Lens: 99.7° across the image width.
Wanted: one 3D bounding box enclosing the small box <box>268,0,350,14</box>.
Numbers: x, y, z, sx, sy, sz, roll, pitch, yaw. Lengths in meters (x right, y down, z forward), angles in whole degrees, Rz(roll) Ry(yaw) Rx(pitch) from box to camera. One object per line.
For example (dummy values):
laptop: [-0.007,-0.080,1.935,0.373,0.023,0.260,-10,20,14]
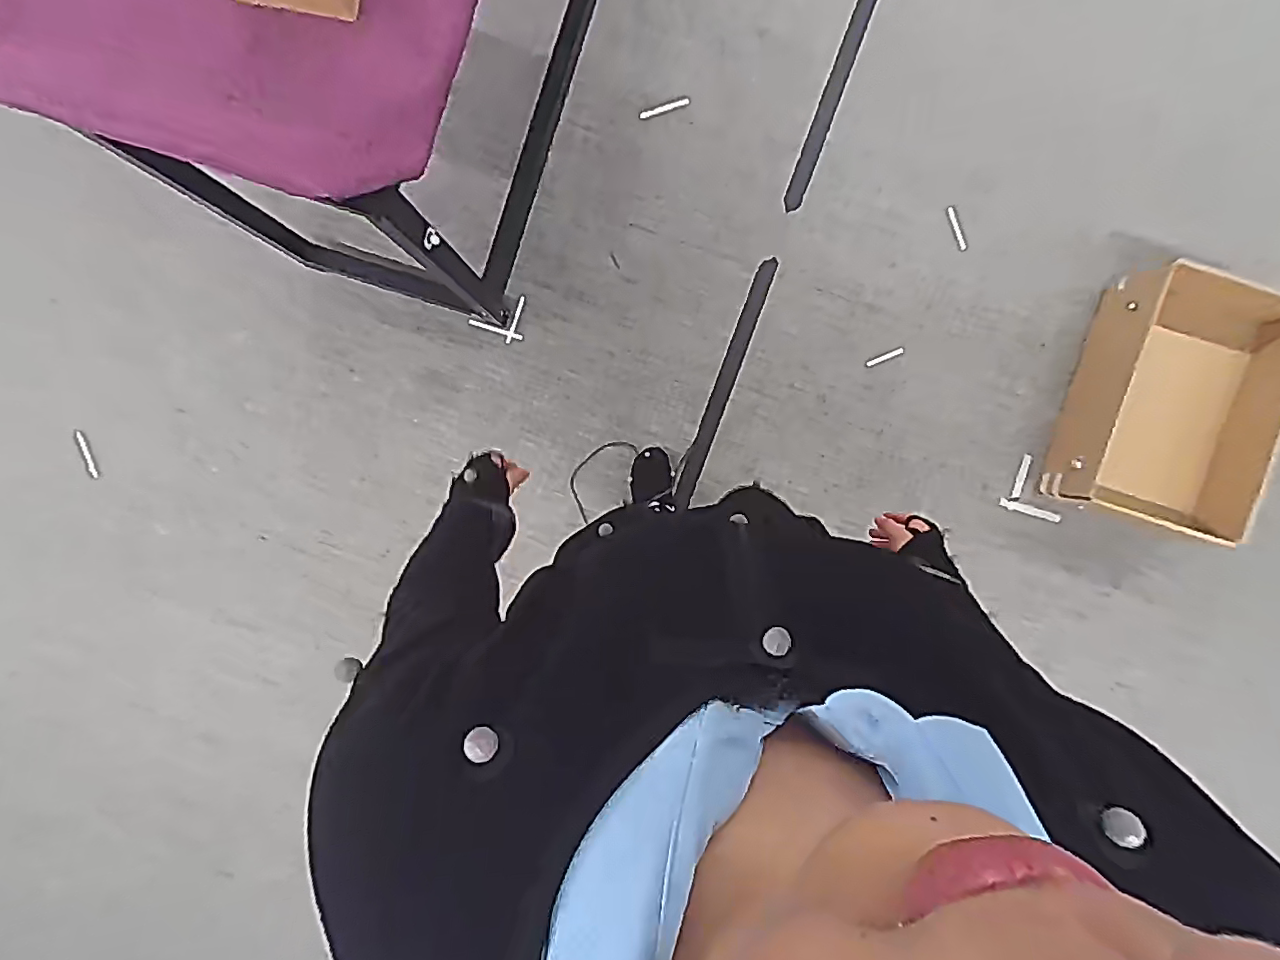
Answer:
small box: [-0.460,-0.729,0.664,0.179,0.176,0.168,11,92,1]
